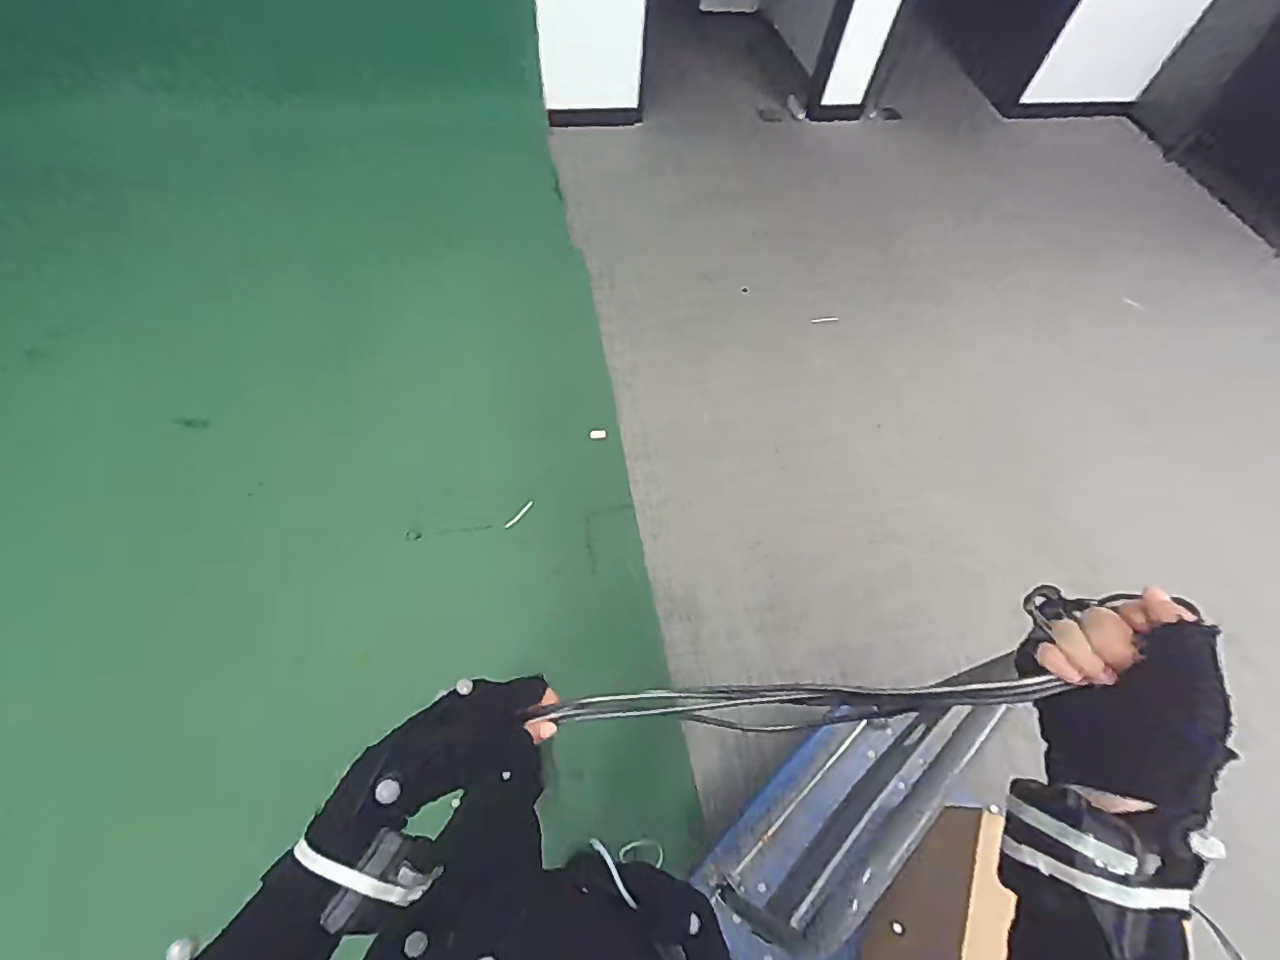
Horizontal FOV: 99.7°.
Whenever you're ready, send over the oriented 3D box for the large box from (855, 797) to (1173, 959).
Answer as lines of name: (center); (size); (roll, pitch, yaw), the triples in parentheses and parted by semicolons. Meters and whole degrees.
large box: (0.577, 0.804, 0.881); (0.320, 0.320, 0.408); (26, 60, 10)
